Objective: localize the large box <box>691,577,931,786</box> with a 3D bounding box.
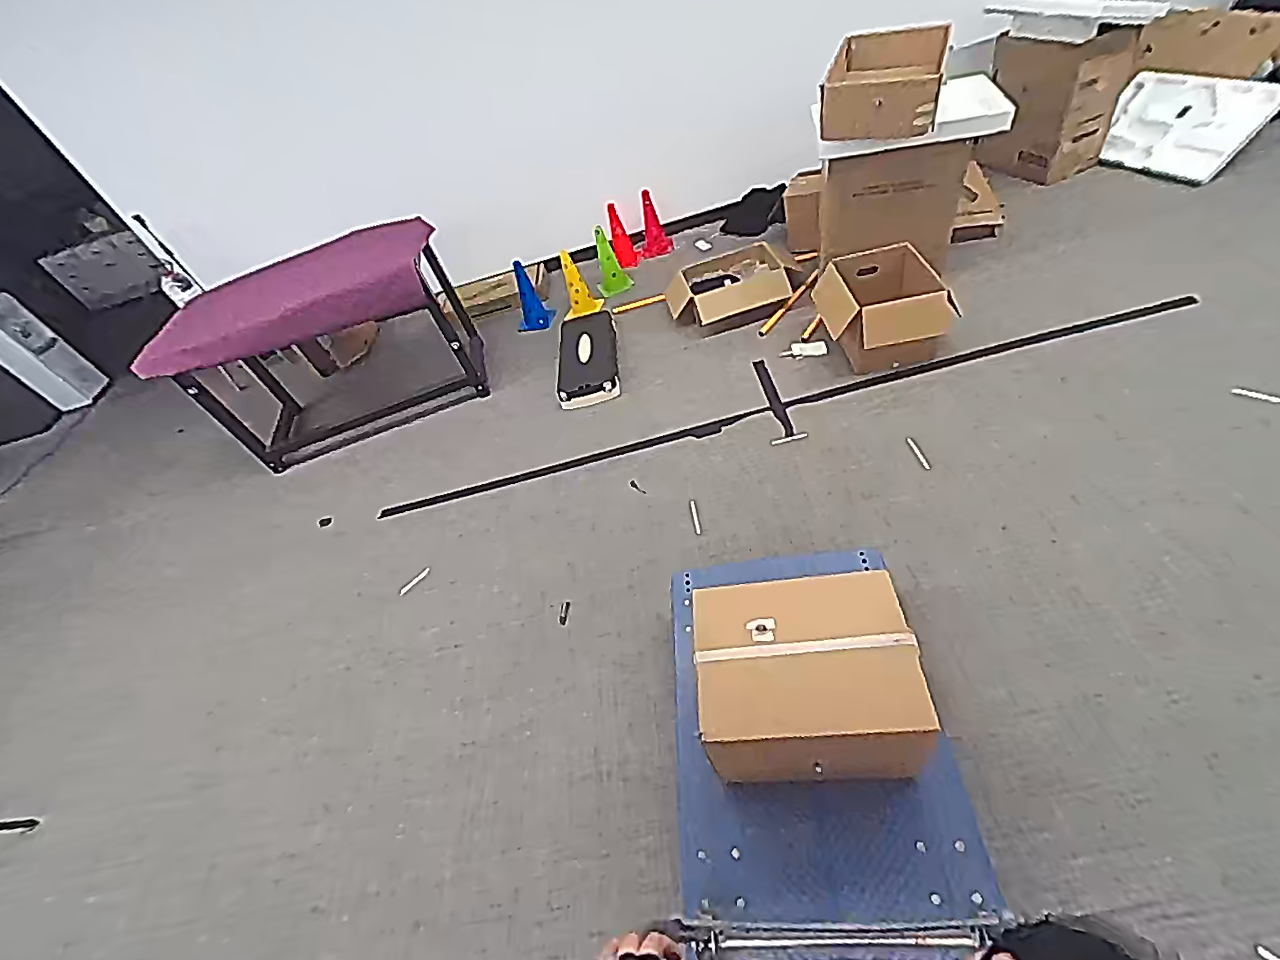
[{"bbox_3d":[0.343,0.441,1.157,0.408,0.320,0.320,-10,46,11],"label":"large box"}]
